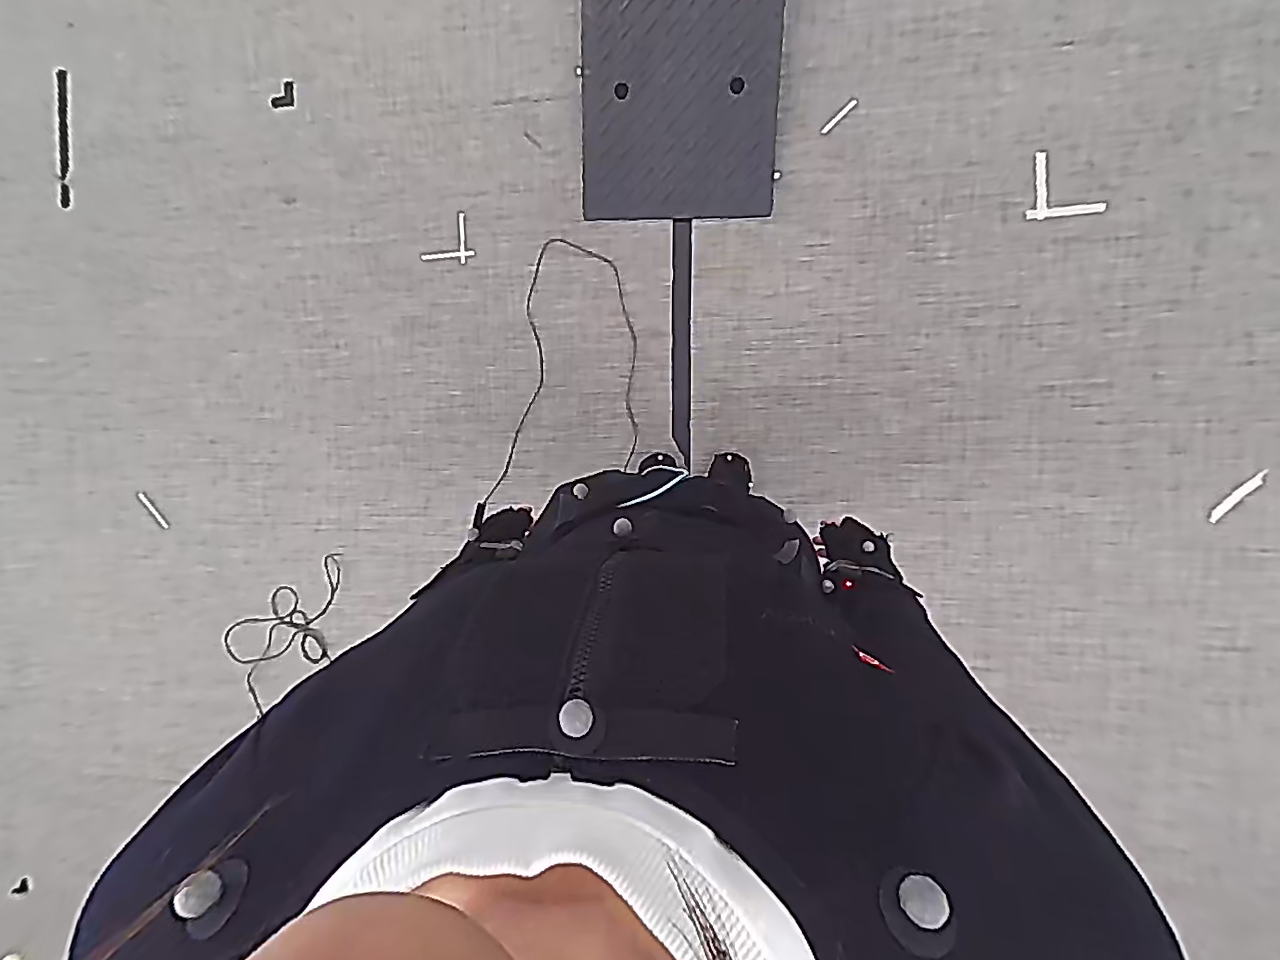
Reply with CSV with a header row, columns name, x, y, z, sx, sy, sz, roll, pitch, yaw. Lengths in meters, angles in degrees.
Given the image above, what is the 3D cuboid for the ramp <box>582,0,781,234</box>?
name,x,y,z,sx,sy,sz,roll,pitch,yaw
ramp,0.099,-1.151,1.327,0.509,0.206,0.991,-1,92,7
